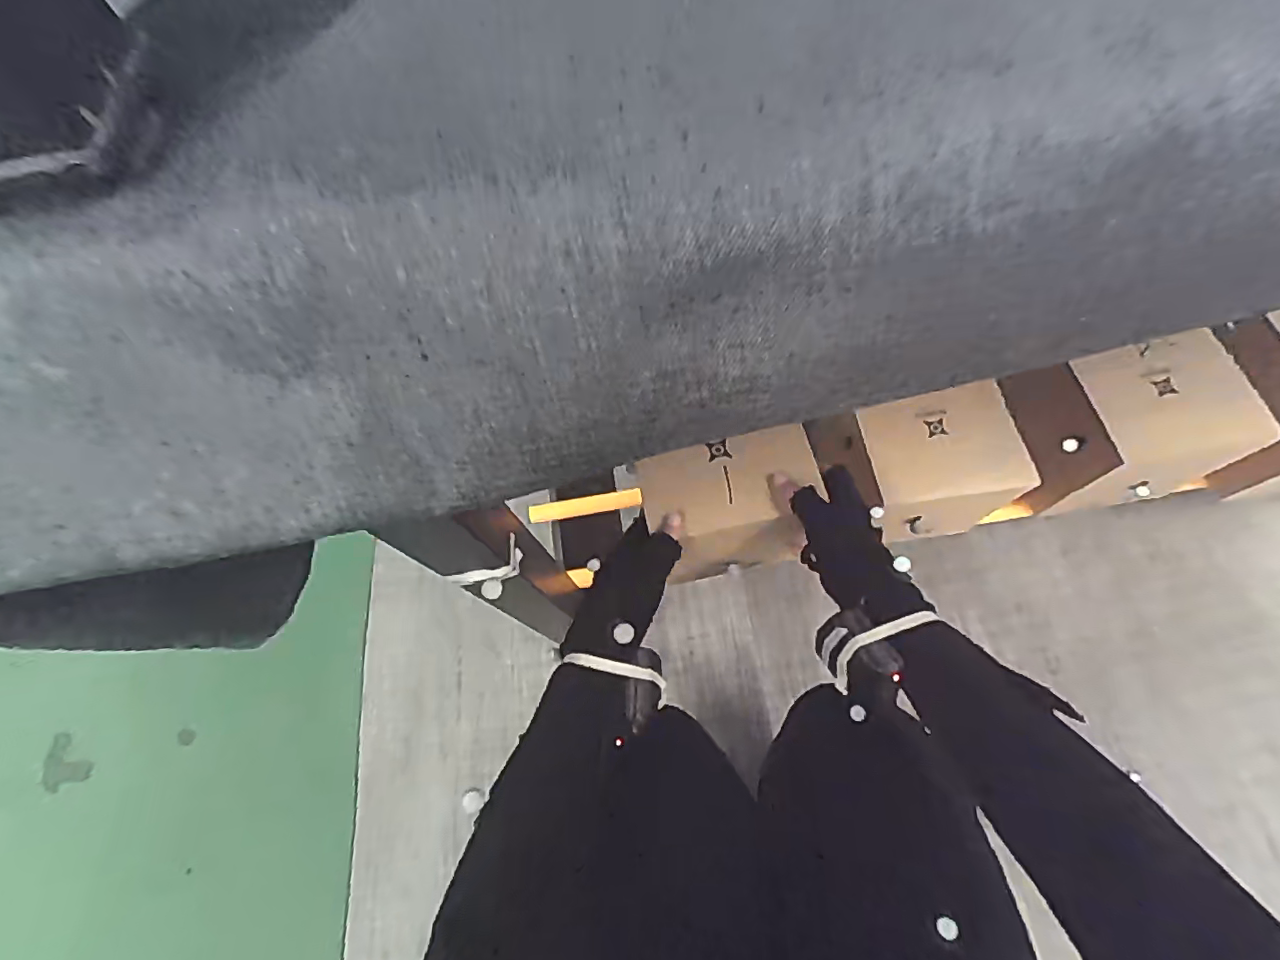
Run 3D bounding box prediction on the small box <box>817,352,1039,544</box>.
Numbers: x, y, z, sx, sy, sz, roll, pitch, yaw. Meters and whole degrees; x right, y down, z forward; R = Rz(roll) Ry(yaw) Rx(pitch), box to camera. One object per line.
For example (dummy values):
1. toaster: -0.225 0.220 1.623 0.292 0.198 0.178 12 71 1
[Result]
1. small box: 0.335 -0.028 0.671 0.168 0.176 0.179 -8 65 2
